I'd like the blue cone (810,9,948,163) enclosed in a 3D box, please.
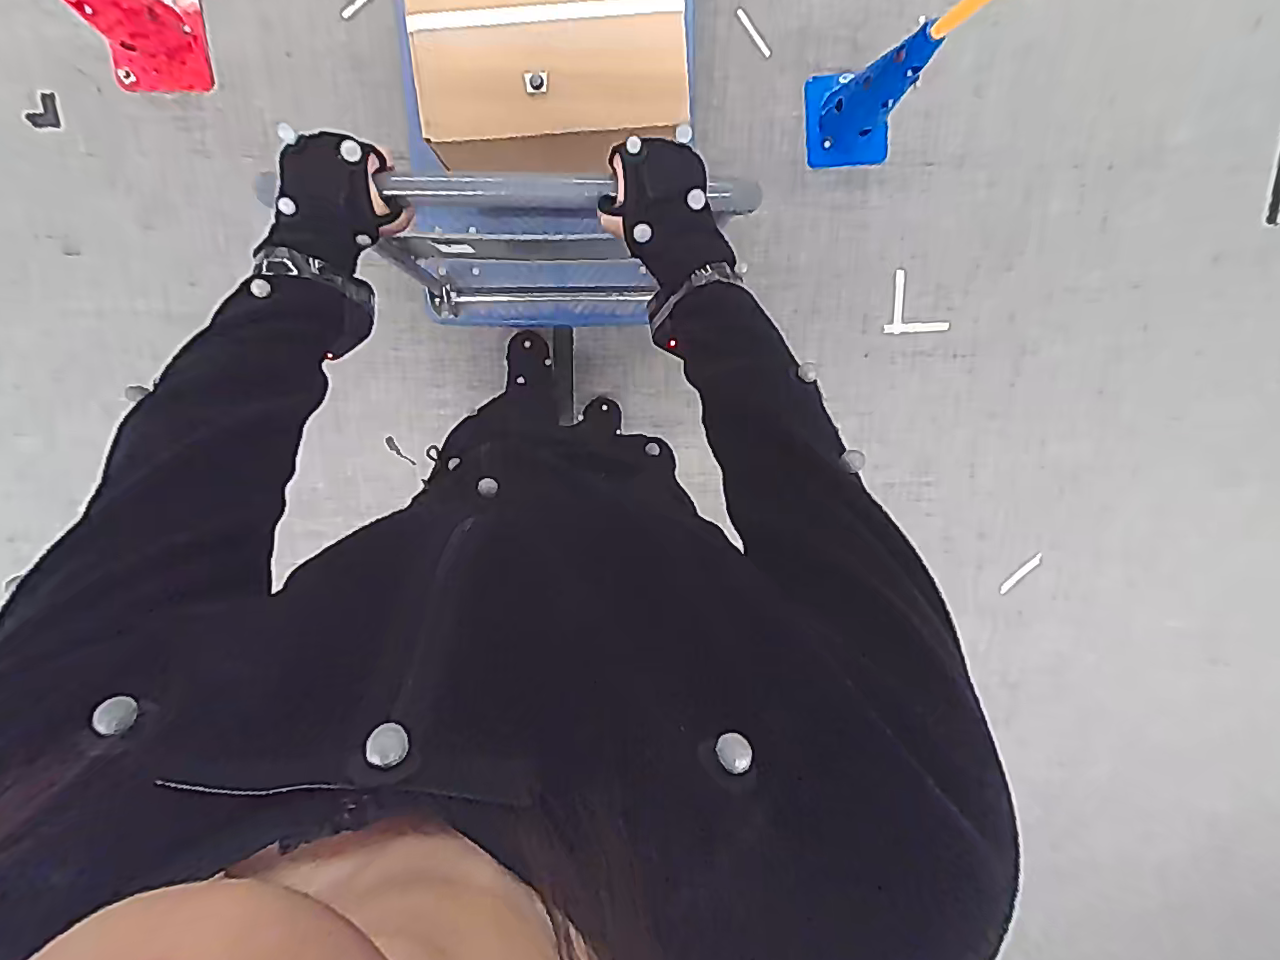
[{"bbox_3d":[0.513,-0.831,1.131,0.193,0.380,0.192,-5,101,-3],"label":"blue cone"}]
